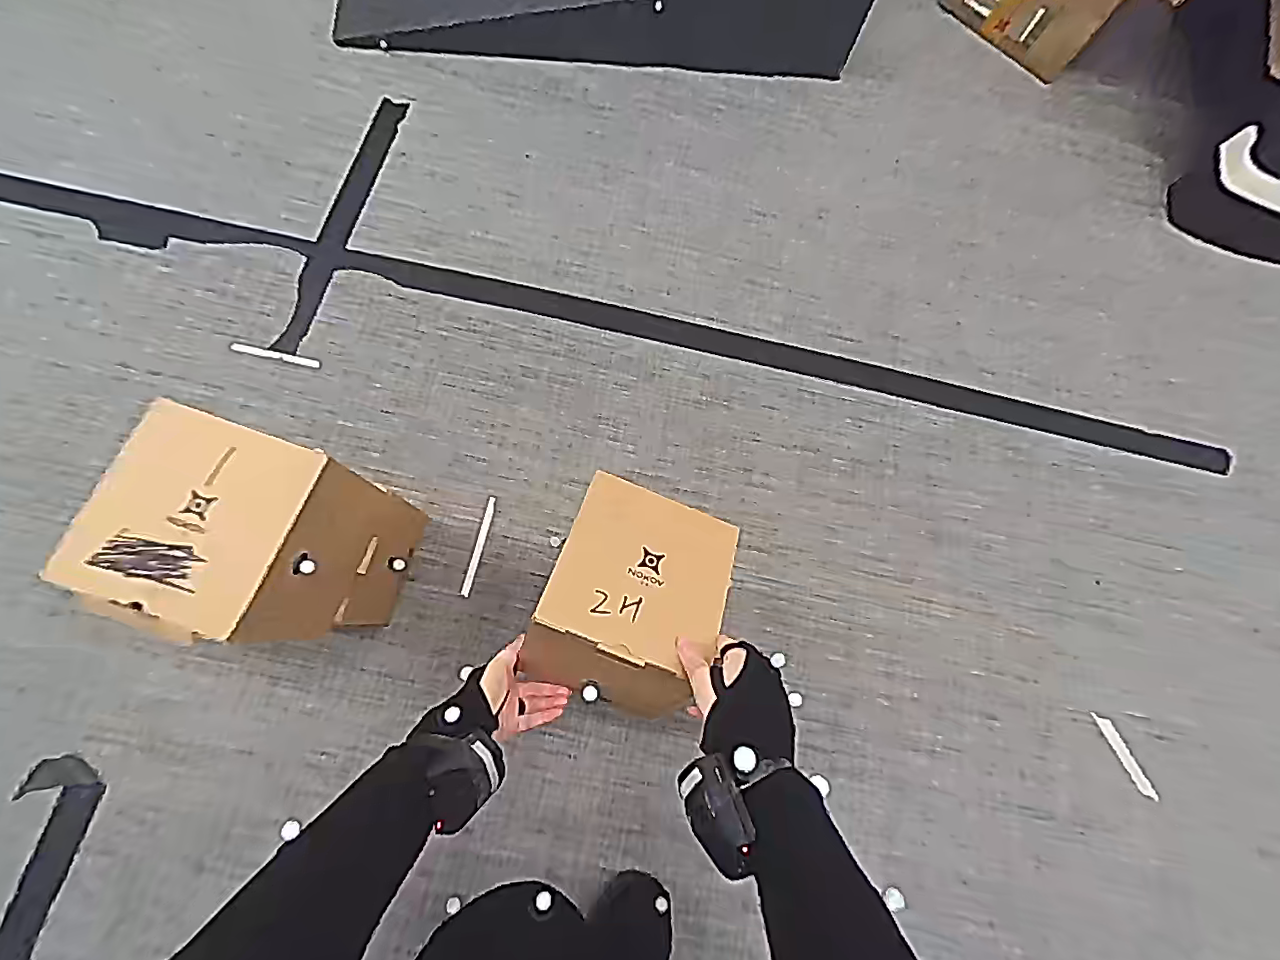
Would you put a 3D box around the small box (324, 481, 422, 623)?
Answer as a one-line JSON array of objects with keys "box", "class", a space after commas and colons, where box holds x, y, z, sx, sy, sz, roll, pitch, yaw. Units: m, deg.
[{"box": [-0.407, 0.078, 0.696, 0.179, 0.176, 0.168, 16, 74, -2], "class": "small box"}]

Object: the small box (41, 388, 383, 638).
[{"box": [-0.388, 0.043, 0.535, 0.168, 0.176, 0.179, 20, 74, 0], "class": "small box"}]

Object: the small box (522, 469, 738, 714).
[{"box": [-0.016, 0.125, 0.581, 0.168, 0.176, 0.179, 23, 53, -3], "class": "small box"}]
